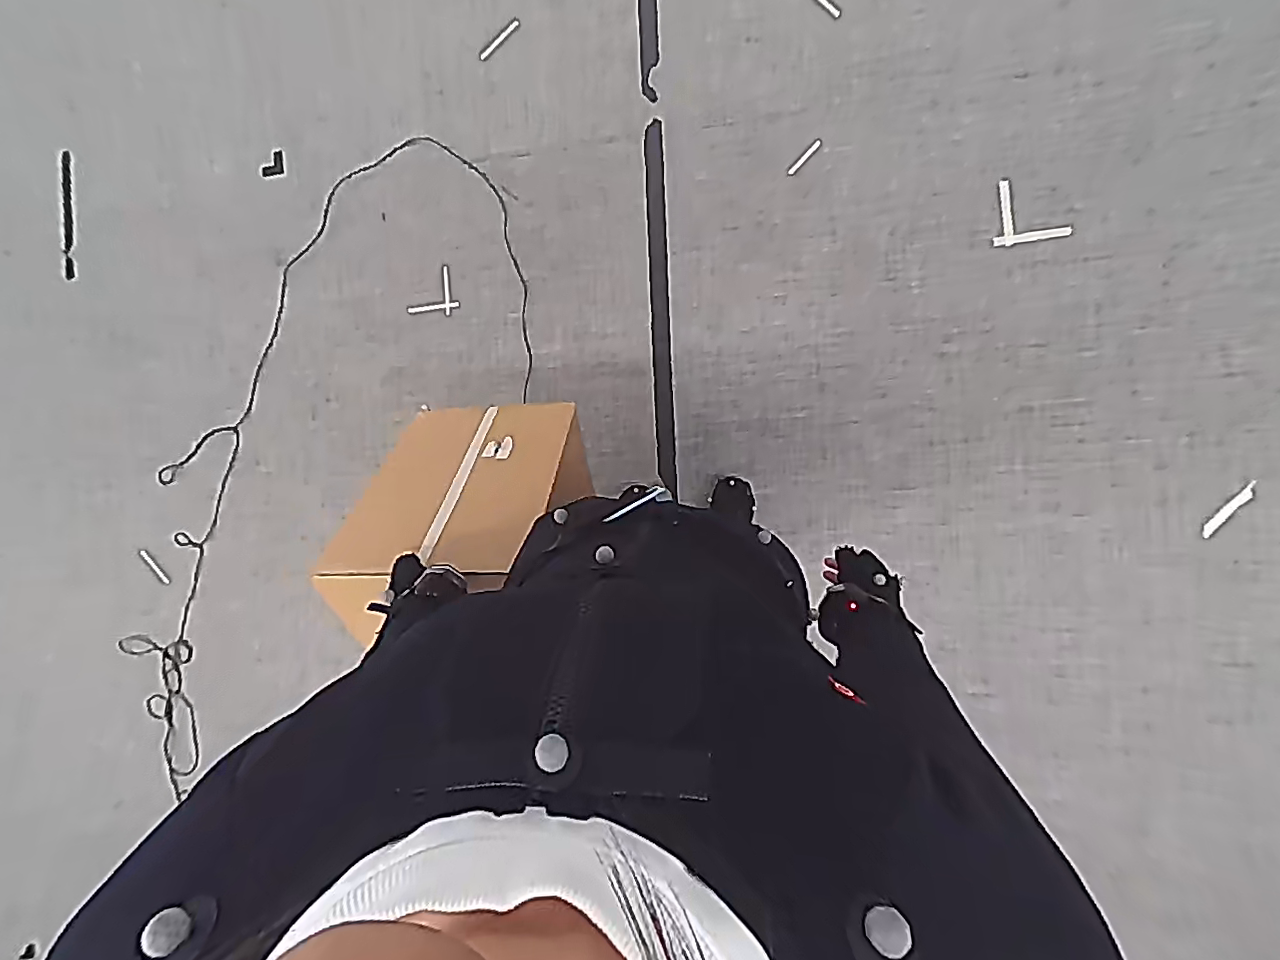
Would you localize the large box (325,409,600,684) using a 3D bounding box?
[{"bbox_3d":[-0.270,0.114,0.990,0.320,0.408,0.320,-1,130,8],"label":"large box"}]
